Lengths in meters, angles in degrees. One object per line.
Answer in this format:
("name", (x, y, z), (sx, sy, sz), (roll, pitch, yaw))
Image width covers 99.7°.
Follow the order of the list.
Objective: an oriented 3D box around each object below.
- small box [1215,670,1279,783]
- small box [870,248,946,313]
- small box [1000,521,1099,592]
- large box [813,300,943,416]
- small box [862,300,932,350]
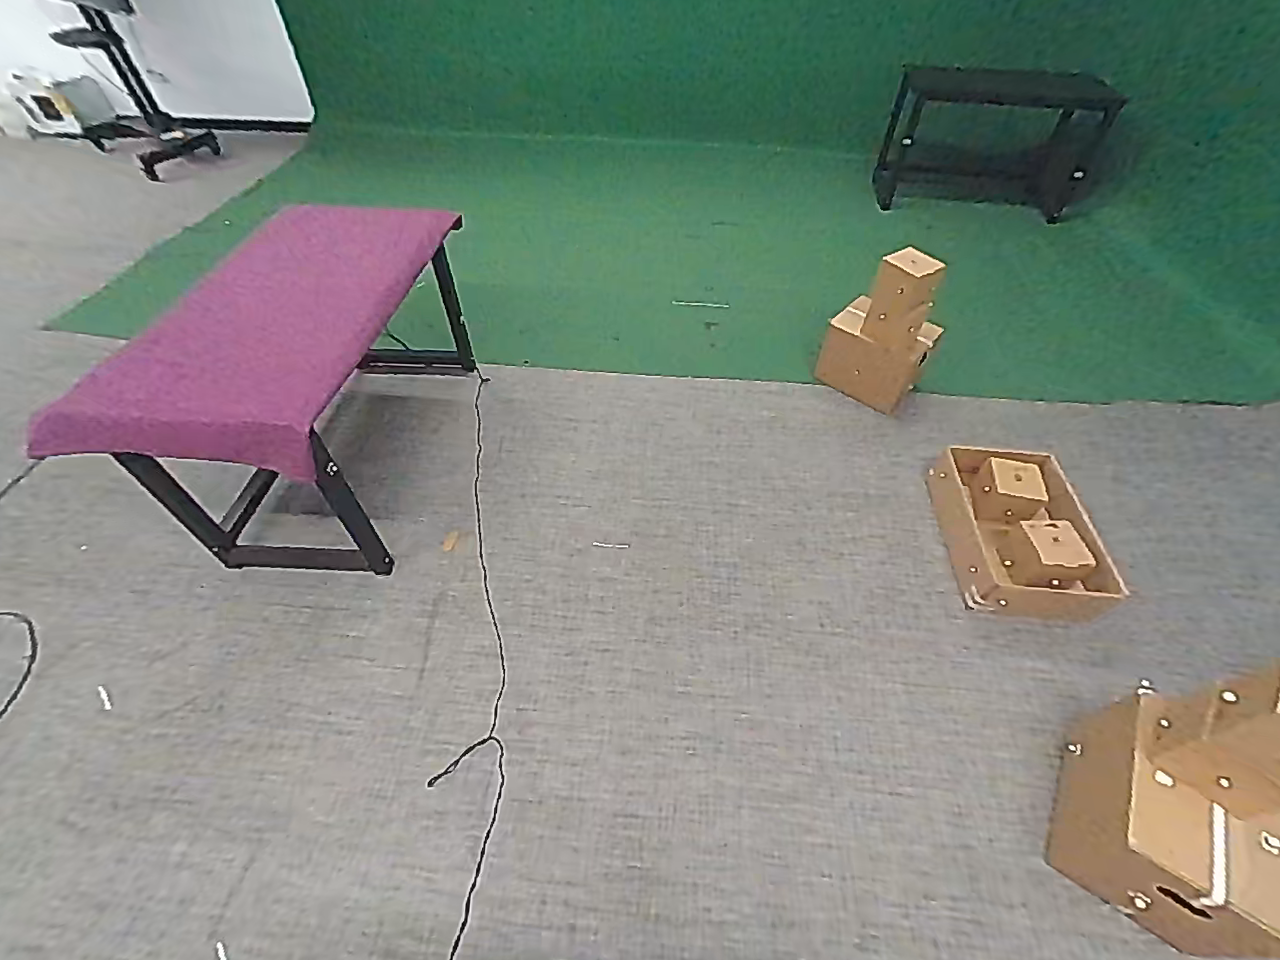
("small box", (1.267, 0.475, 1.017), (0.168, 0.176, 0.179), (-36, 56, -27))
("small box", (1.044, -0.775, 2.119), (0.168, 0.176, 0.179), (-26, 53, -20))
("small box", (1.334, 0.255, 1.775), (0.168, 0.176, 0.179), (0, 48, 1))
("large box", (1.073, -0.559, 2.470), (0.408, 0.320, 0.320), (34, 56, 27))
("small box", (1.057, -0.661, 2.236), (0.168, 0.176, 0.179), (-30, 55, -21))
